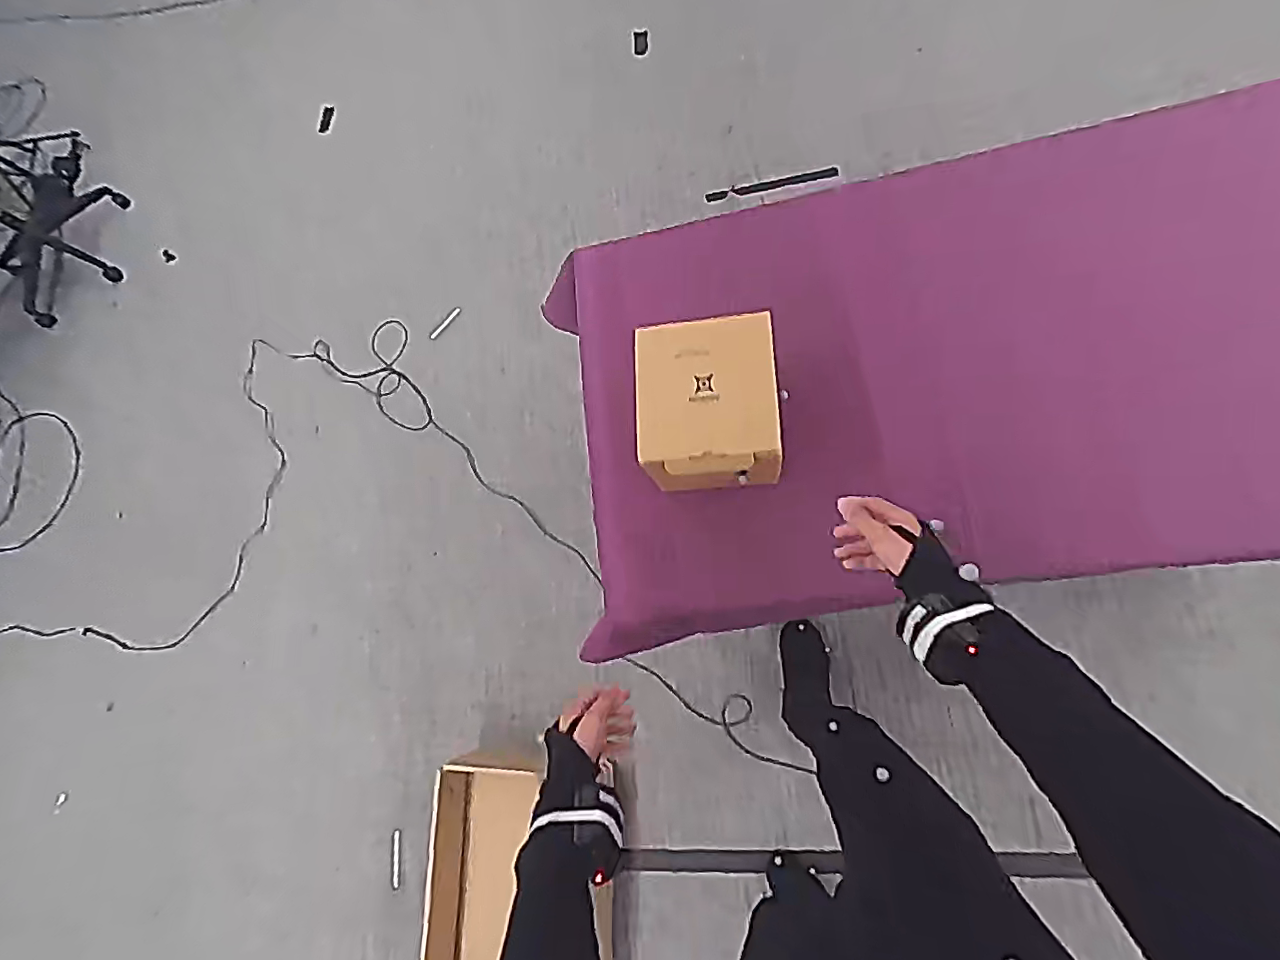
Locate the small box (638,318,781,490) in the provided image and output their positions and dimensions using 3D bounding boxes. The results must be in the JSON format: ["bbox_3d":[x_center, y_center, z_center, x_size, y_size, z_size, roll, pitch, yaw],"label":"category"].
[{"bbox_3d":[0.095,-0.085,0.710,0.168,0.176,0.179,-4,76,11],"label":"small box"}]
